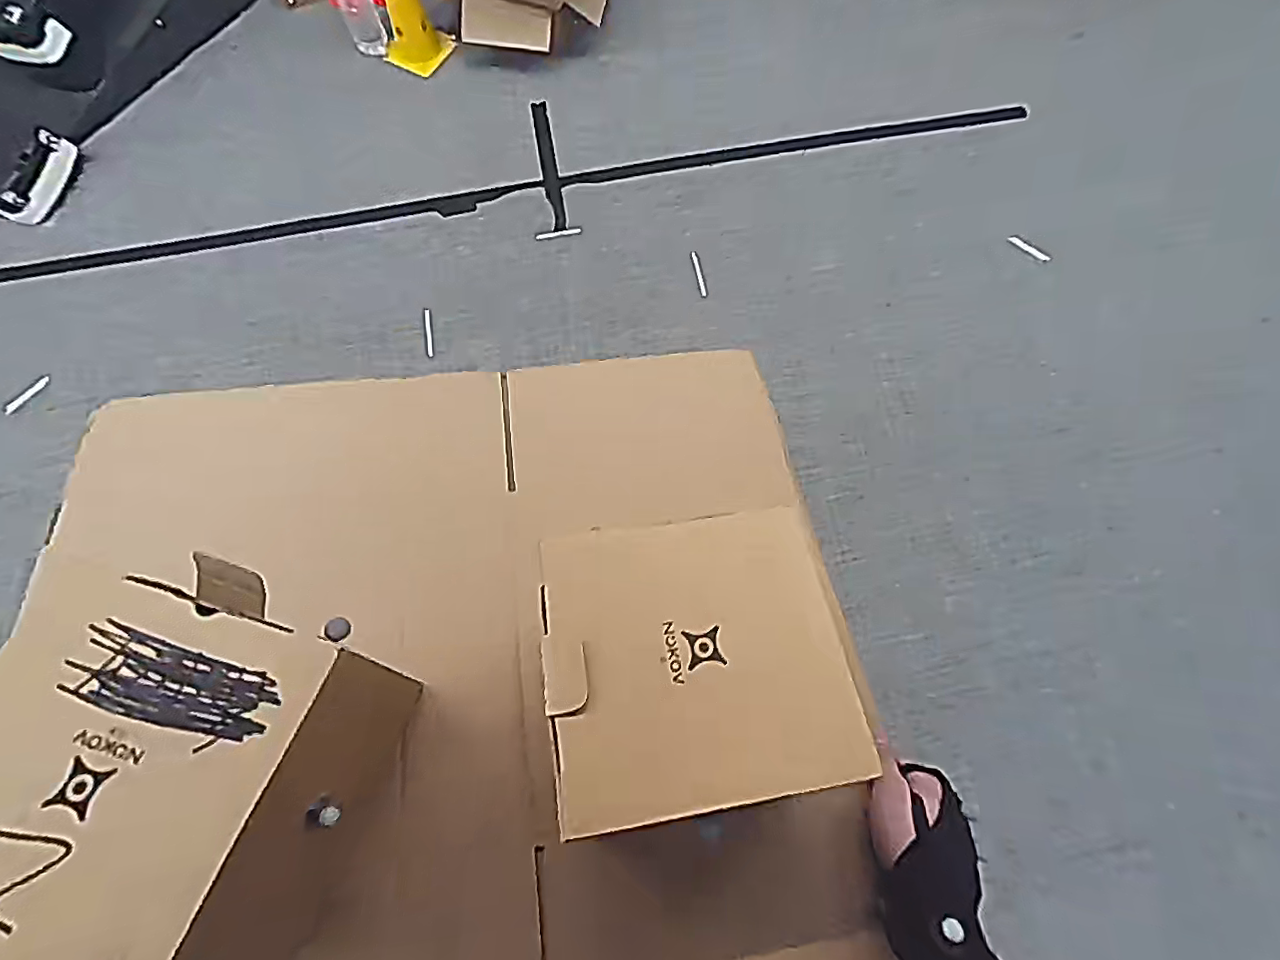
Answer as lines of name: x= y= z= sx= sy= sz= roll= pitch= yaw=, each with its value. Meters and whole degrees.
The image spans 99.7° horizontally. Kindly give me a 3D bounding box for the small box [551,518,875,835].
small box: x=0.034 y=0.144 z=0.404 sx=0.179 sy=0.176 sz=0.168 roll=-8 pitch=62 yaw=-7
